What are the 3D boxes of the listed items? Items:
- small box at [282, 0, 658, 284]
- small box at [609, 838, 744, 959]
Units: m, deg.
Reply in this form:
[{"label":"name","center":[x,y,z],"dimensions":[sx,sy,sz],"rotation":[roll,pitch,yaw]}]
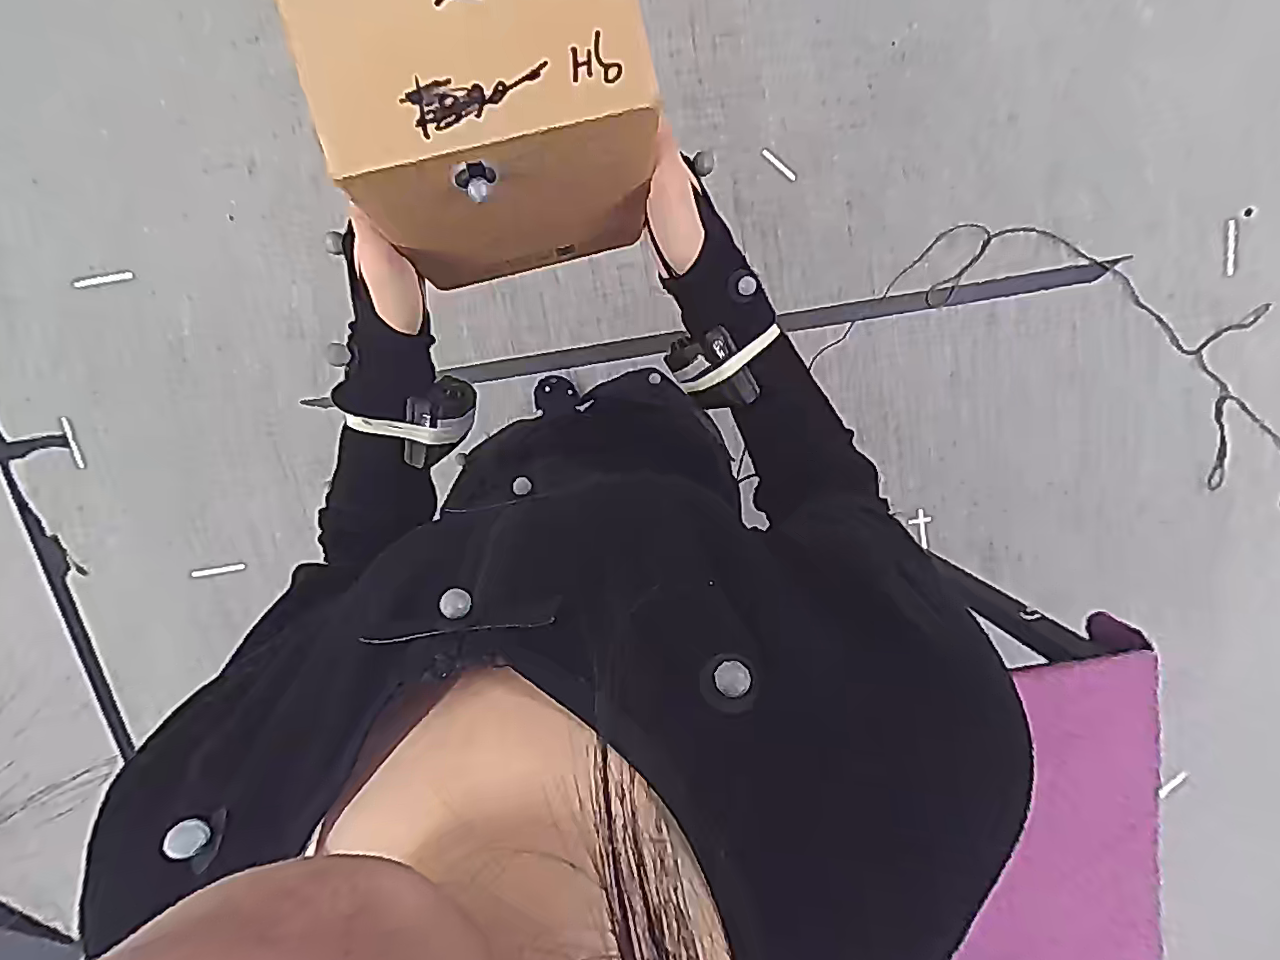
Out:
[{"label":"small box","center":[-0.095,-0.249,0.336],"dimensions":[0.168,0.176,0.179],"rotation":[-15,92,-3]},{"label":"small box","center":[0.058,0.675,0.798],"dimensions":[0.179,0.176,0.168],"rotation":[-12,101,0]}]
